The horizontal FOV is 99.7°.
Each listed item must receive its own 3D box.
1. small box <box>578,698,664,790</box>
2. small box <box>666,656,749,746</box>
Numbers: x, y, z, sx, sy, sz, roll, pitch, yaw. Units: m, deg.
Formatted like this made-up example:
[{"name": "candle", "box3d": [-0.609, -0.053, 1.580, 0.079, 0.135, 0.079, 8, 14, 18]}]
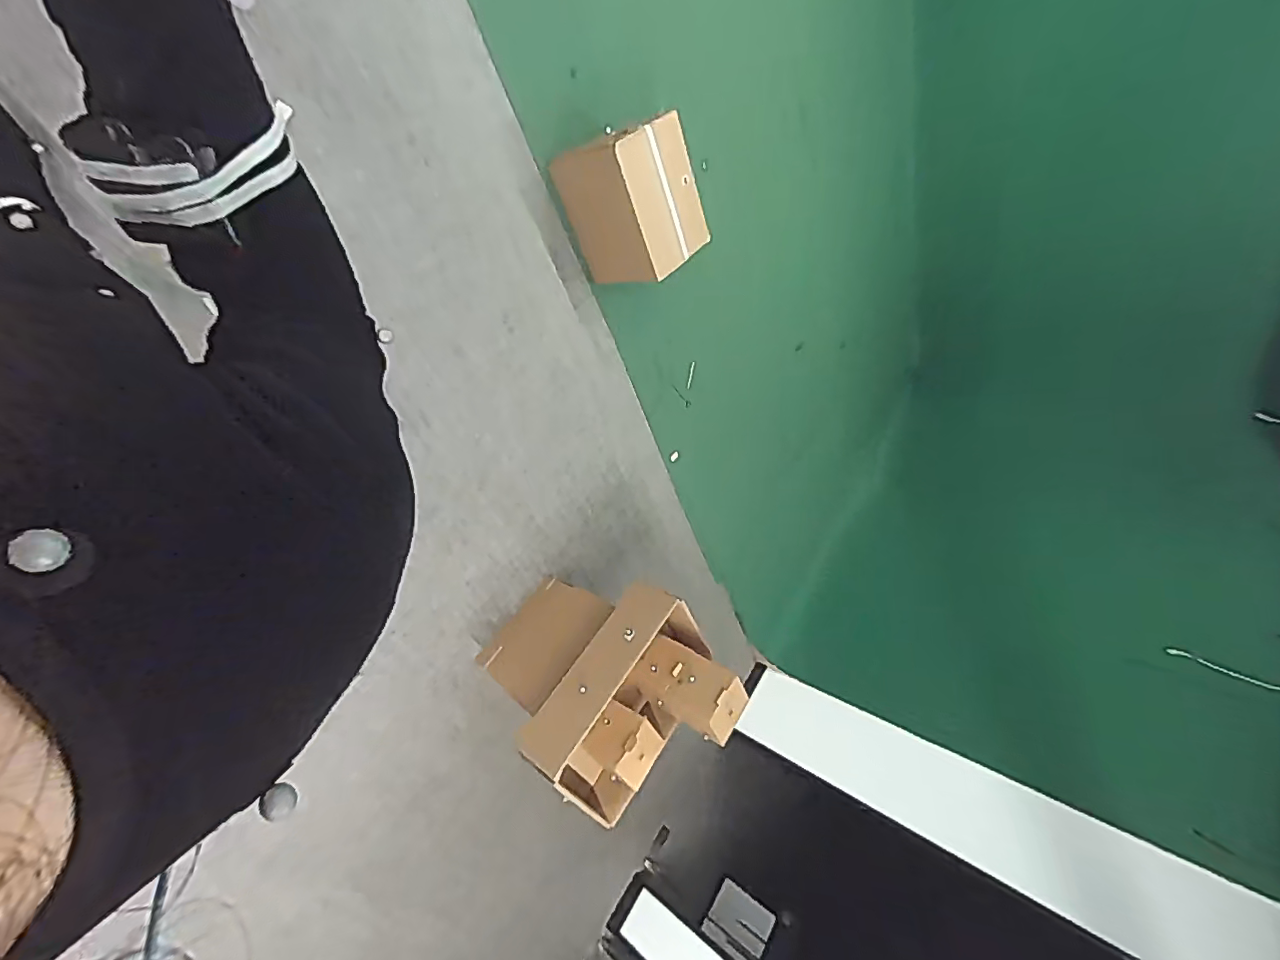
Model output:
[{"name": "small box", "box3d": [-0.058, 0.805, 1.664, 0.168, 0.176, 0.179, -50, 133, -27]}, {"name": "small box", "box3d": [0.209, 0.674, 1.670, 0.168, 0.176, 0.179, -49, 133, -27]}]
